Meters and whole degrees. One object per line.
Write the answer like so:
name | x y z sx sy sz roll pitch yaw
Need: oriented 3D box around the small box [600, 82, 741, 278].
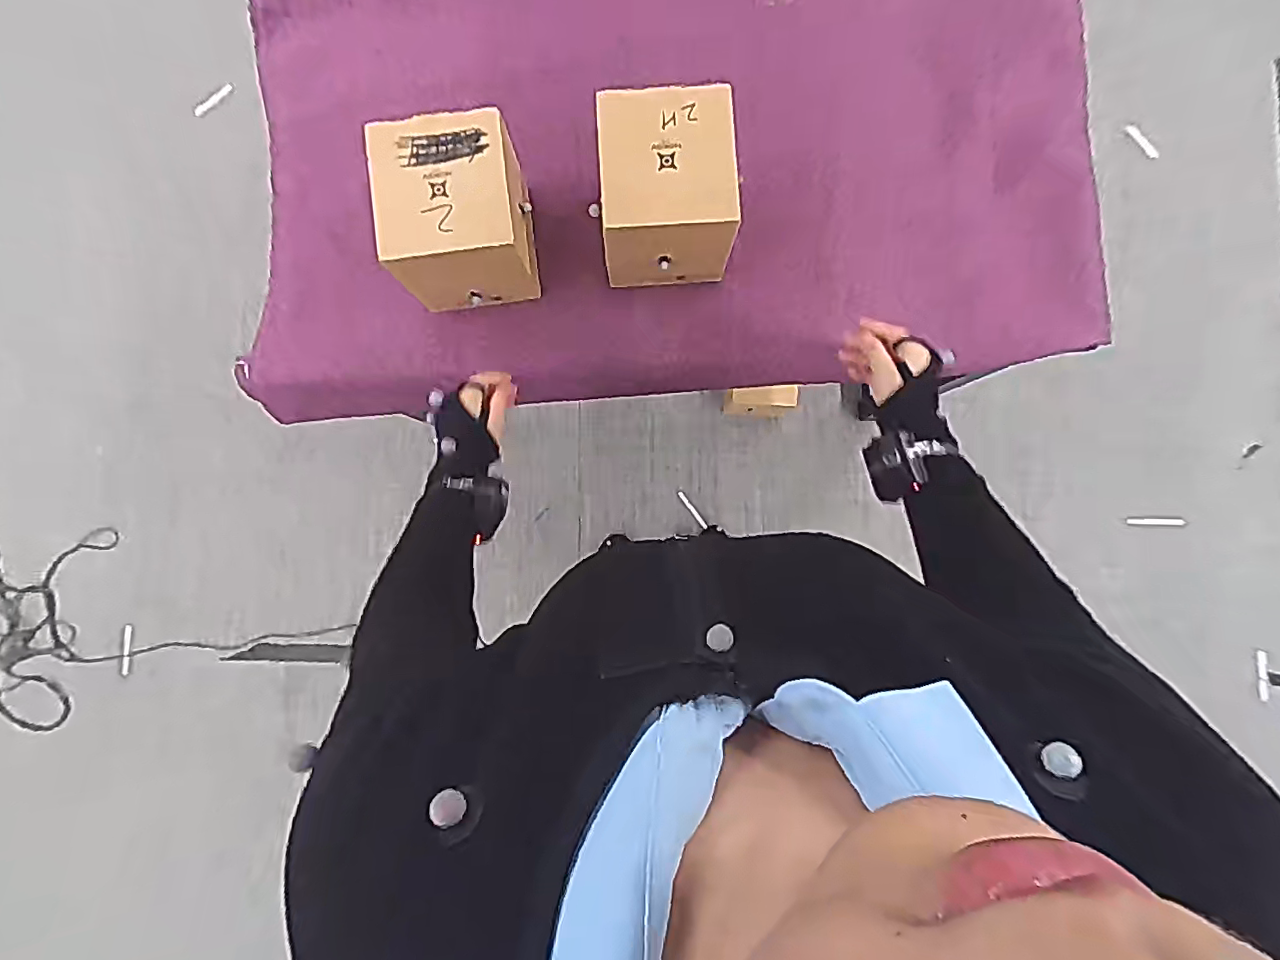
small box | 0.037 -0.385 0.727 0.168 0.176 0.179 -3 85 -1

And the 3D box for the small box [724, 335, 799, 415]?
small box | 0.321 -0.275 1.451 0.168 0.176 0.179 3 86 1
